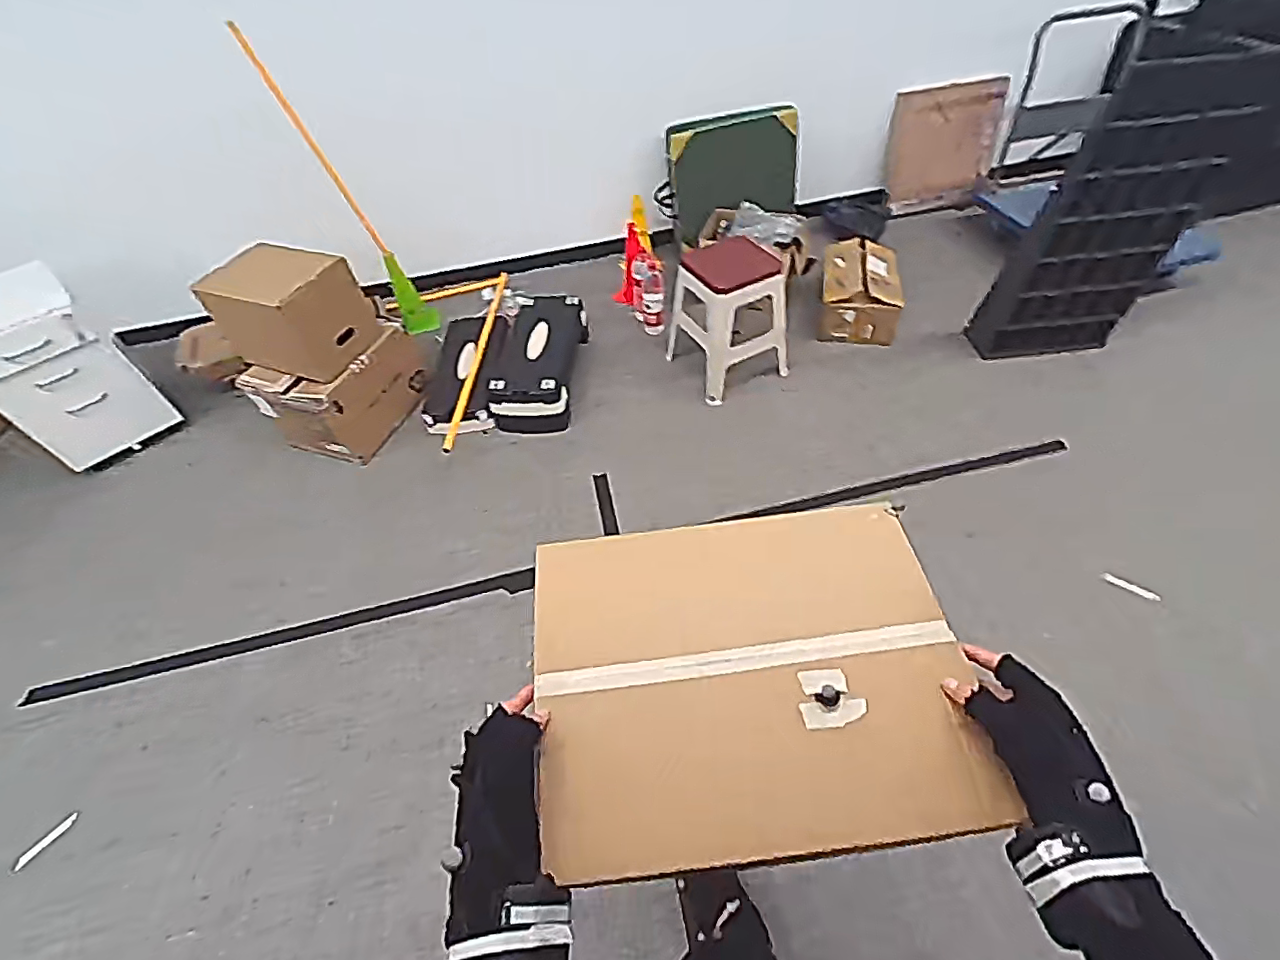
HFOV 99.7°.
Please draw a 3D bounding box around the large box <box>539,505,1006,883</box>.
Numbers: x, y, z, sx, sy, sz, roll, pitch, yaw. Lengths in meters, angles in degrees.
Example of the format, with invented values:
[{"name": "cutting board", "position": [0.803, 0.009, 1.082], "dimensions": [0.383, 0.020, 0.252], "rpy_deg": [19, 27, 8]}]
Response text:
[{"name": "large box", "position": [0.106, 0.267, 0.656], "dimensions": [0.408, 0.320, 0.320], "rpy_deg": [-7, 53, -1]}]
